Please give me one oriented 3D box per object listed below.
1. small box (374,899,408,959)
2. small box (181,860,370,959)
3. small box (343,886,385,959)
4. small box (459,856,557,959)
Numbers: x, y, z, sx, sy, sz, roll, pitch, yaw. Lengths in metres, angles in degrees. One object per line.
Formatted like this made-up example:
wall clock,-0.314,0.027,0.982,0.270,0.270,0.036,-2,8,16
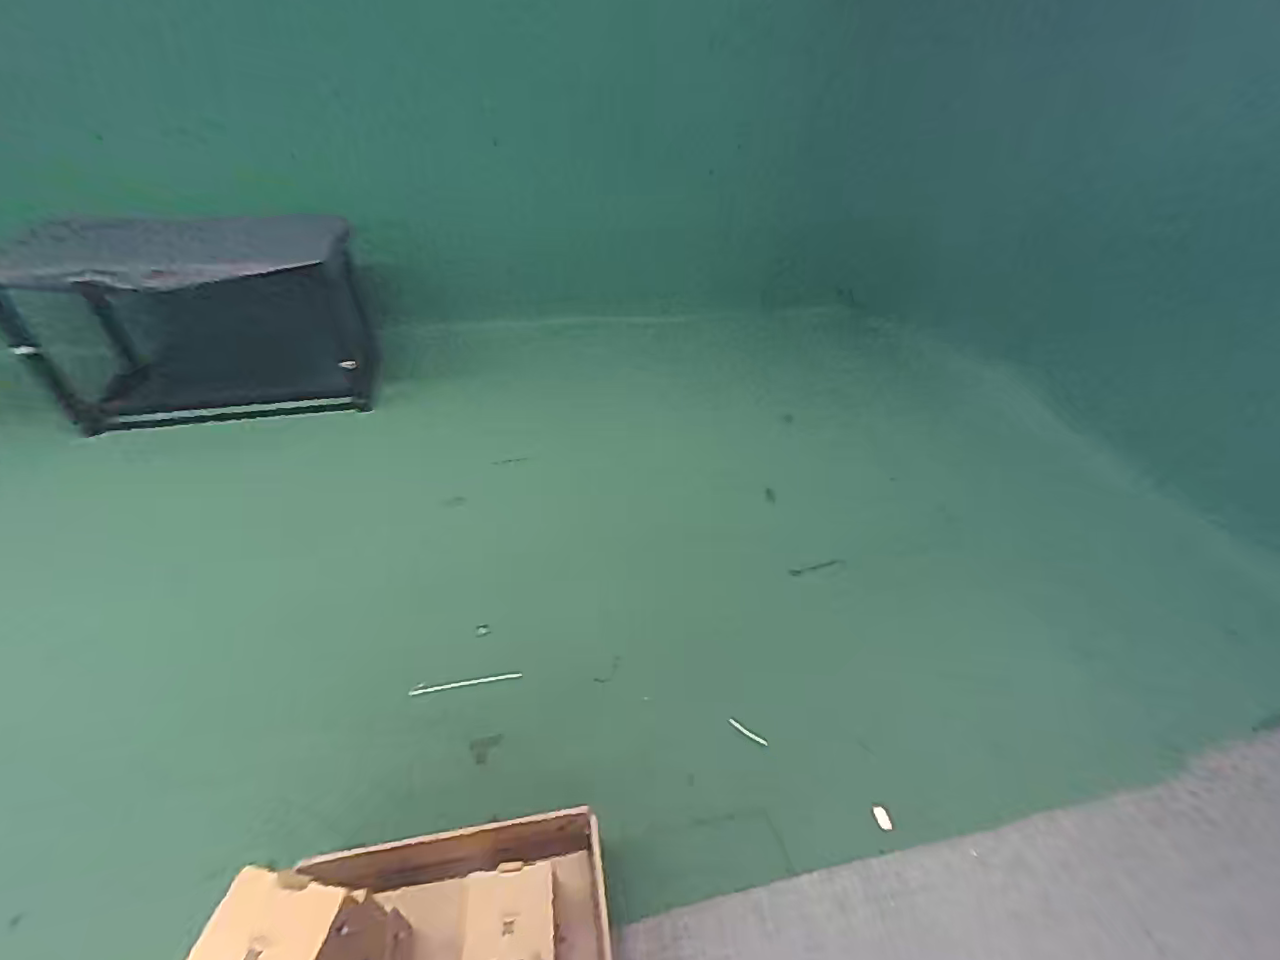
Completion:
small box,-0.534,0.915,0.992,0.168,0.176,0.179,-7,41,-12
small box,-0.517,0.681,0.766,0.168,0.176,0.179,9,40,5
small box,-0.529,0.800,0.877,0.168,0.176,0.179,-5,41,-11
small box,-0.252,0.876,1.063,0.168,0.176,0.179,-3,42,-7
